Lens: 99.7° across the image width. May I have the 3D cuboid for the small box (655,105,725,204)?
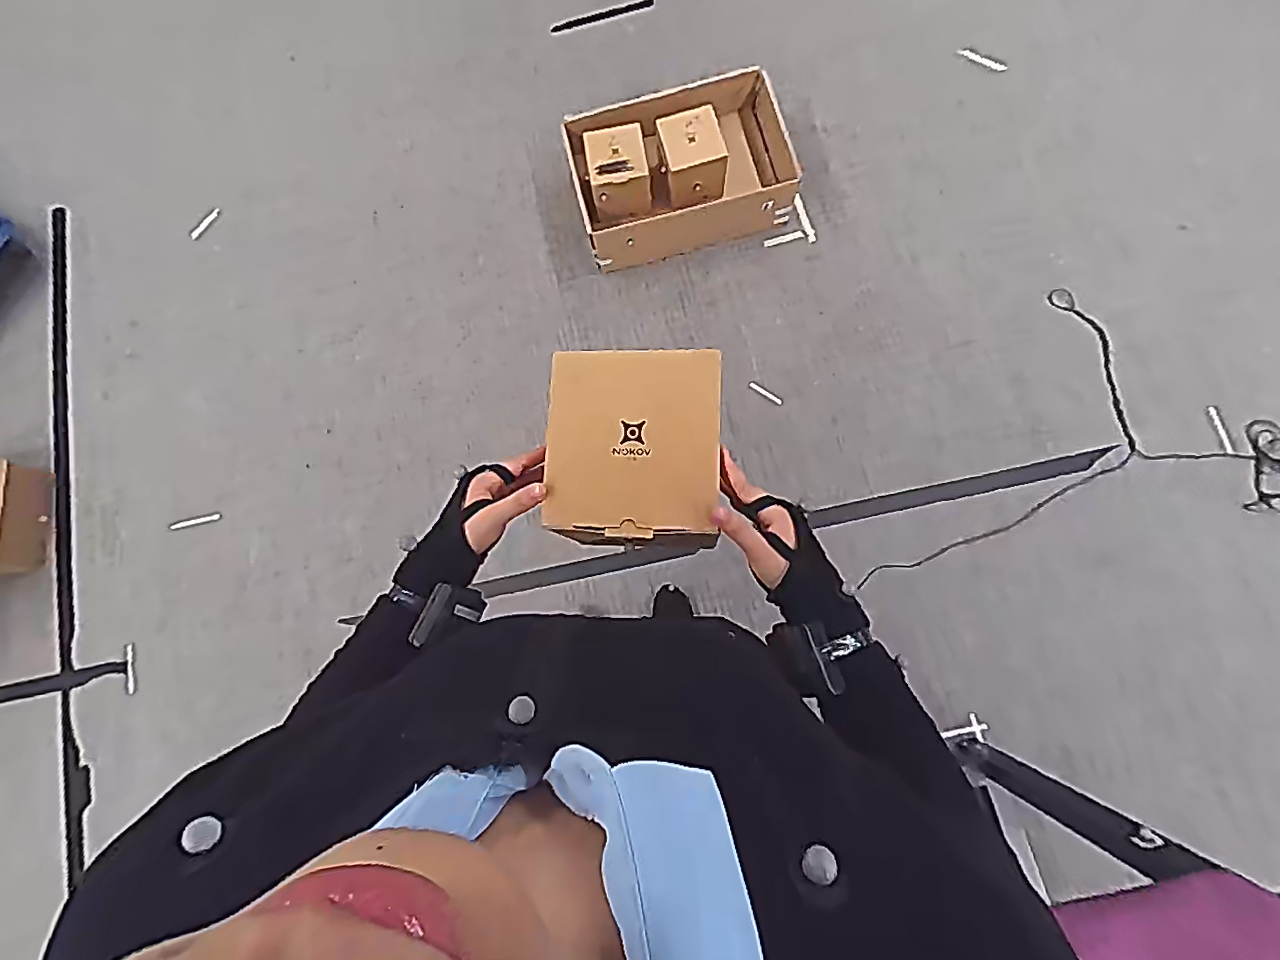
[{"bbox_3d":[0.146,-0.943,1.587,0.168,0.176,0.179,-15,79,1],"label":"small box"}]
